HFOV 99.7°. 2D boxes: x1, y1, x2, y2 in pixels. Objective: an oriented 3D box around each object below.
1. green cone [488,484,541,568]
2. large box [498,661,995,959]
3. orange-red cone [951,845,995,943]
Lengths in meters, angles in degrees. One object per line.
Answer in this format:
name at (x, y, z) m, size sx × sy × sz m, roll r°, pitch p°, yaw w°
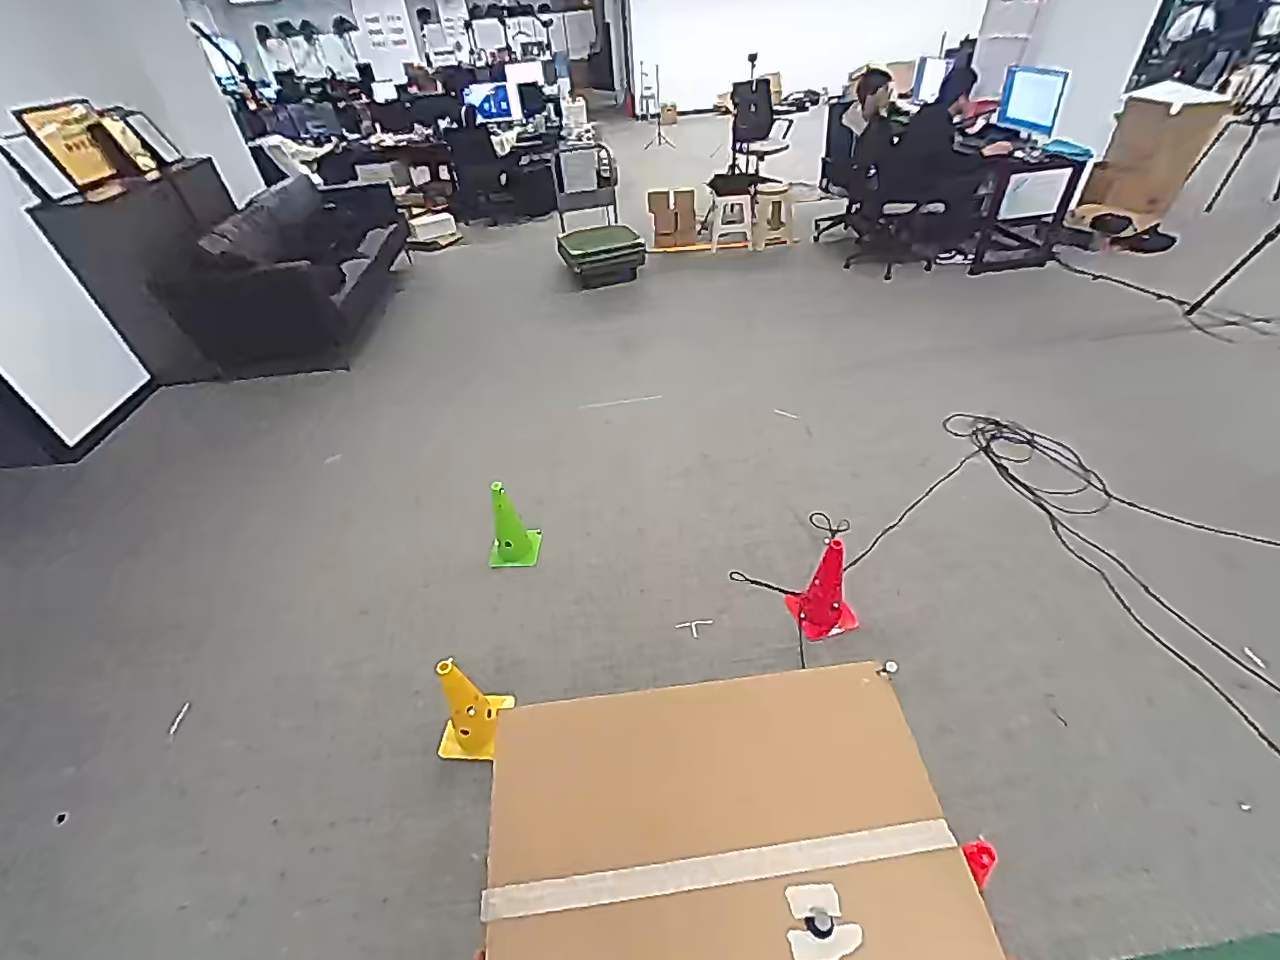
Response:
green cone at (-0.538, 0.159, 2.155) m, size 0.200 × 0.368 × 0.202 m, roll -3°, pitch 42°, yaw 3°
large box at (0.076, 0.429, 0.588) m, size 0.408 × 0.320 × 0.320 m, roll -6°, pitch 52°, yaw -4°
orange-red cone at (0.694, 0.871, 1.184) m, size 0.199 × 0.360 × 0.198 m, roll -1°, pitch 41°, yaw 3°
